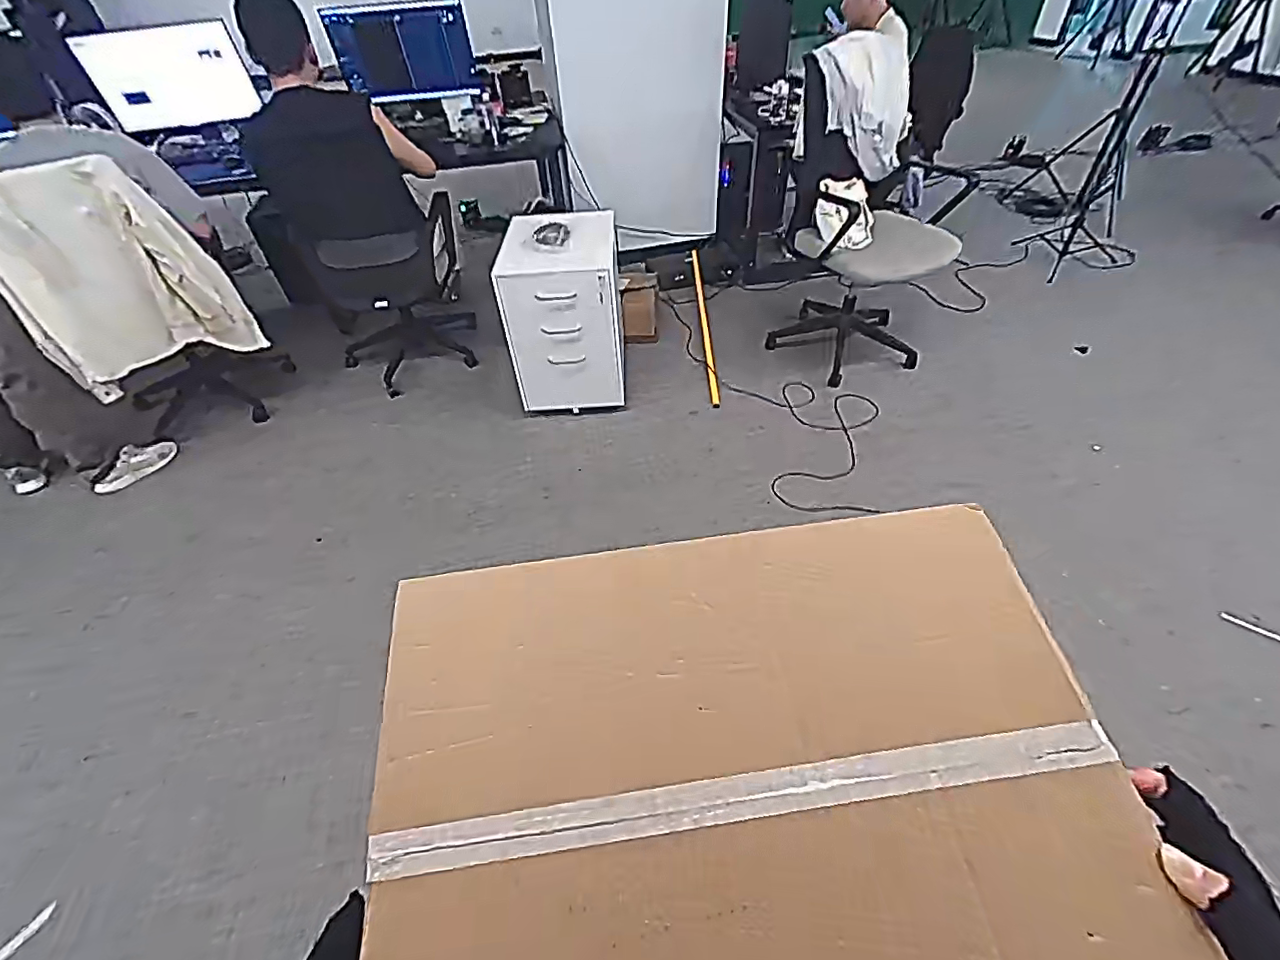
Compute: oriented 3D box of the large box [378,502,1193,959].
[{"bbox_3d":[0.061,0.250,0.434,0.408,0.320,0.320,-8,59,-2],"label":"large box"}]
